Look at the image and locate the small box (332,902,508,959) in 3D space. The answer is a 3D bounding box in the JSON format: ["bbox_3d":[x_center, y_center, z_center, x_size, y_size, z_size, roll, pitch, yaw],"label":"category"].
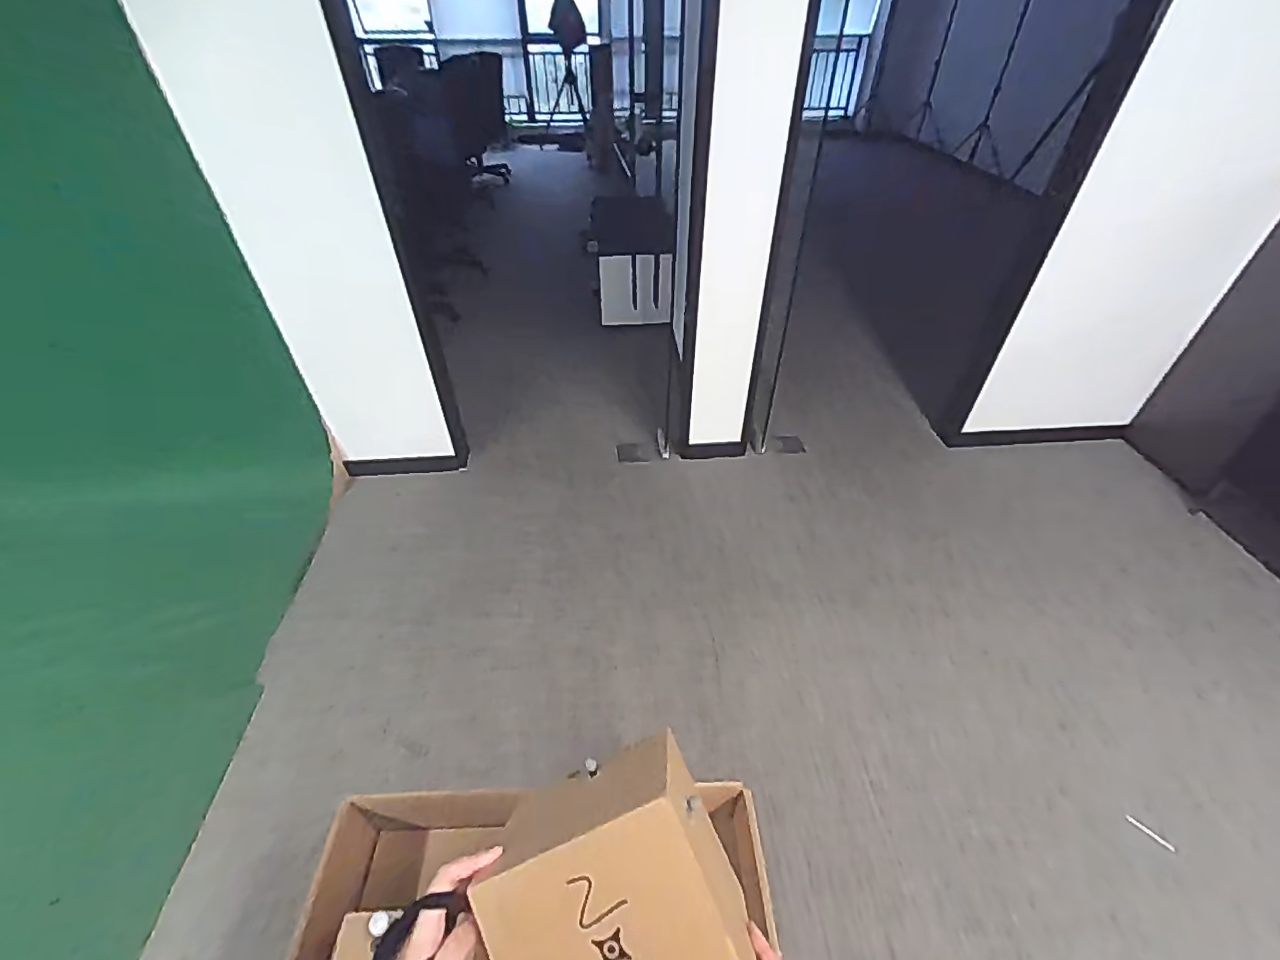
[{"bbox_3d":[-0.281,0.653,0.684,0.179,0.176,0.168,-1,43,1],"label":"small box"}]
